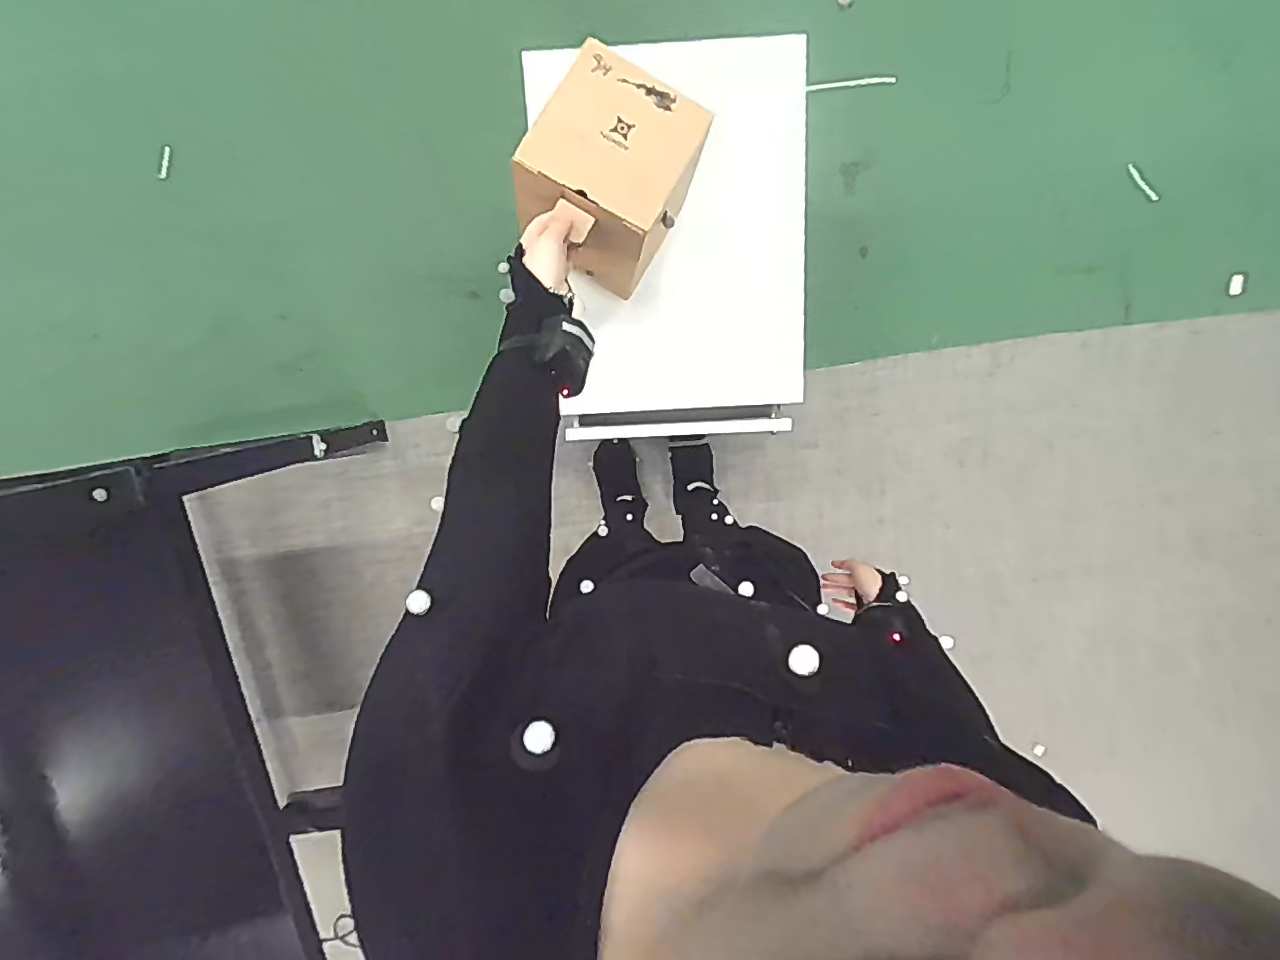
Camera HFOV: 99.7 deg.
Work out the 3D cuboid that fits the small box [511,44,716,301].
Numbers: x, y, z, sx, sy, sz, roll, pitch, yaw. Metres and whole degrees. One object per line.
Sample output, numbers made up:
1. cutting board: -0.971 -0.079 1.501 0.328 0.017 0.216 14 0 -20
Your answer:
1. small box: -0.033 -0.354 0.659 0.168 0.176 0.179 30 81 -3
